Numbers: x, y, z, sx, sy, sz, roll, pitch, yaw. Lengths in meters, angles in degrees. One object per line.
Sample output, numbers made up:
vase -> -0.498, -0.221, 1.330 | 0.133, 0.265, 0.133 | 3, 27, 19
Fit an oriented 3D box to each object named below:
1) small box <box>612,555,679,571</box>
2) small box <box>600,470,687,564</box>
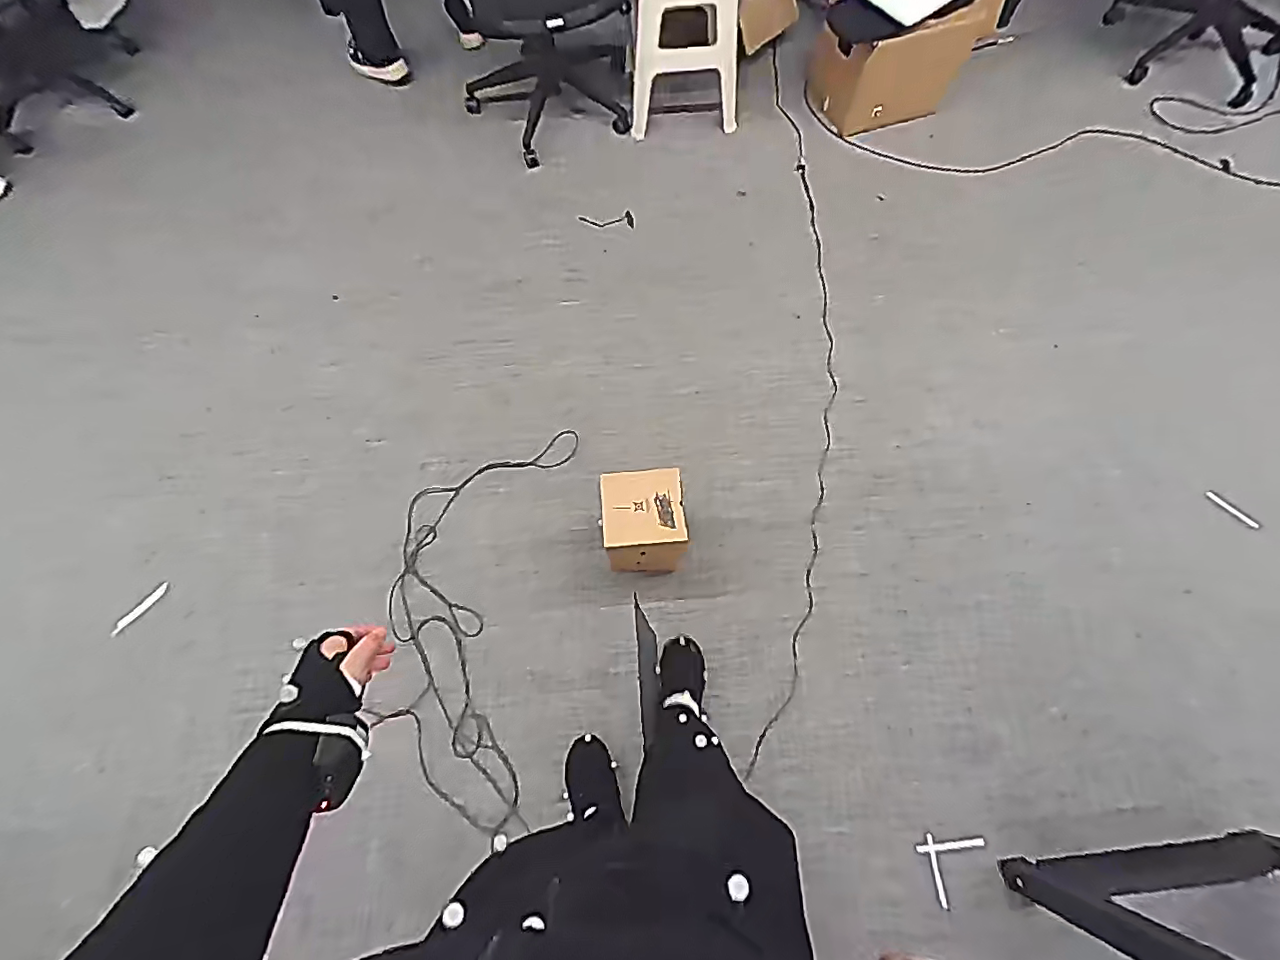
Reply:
small box -> 0.013, 0.135, 1.380 | 0.179, 0.176, 0.168 | 1, 69, 2
small box -> 0.006, 0.088, 1.221 | 0.179, 0.176, 0.168 | -5, 69, -1
